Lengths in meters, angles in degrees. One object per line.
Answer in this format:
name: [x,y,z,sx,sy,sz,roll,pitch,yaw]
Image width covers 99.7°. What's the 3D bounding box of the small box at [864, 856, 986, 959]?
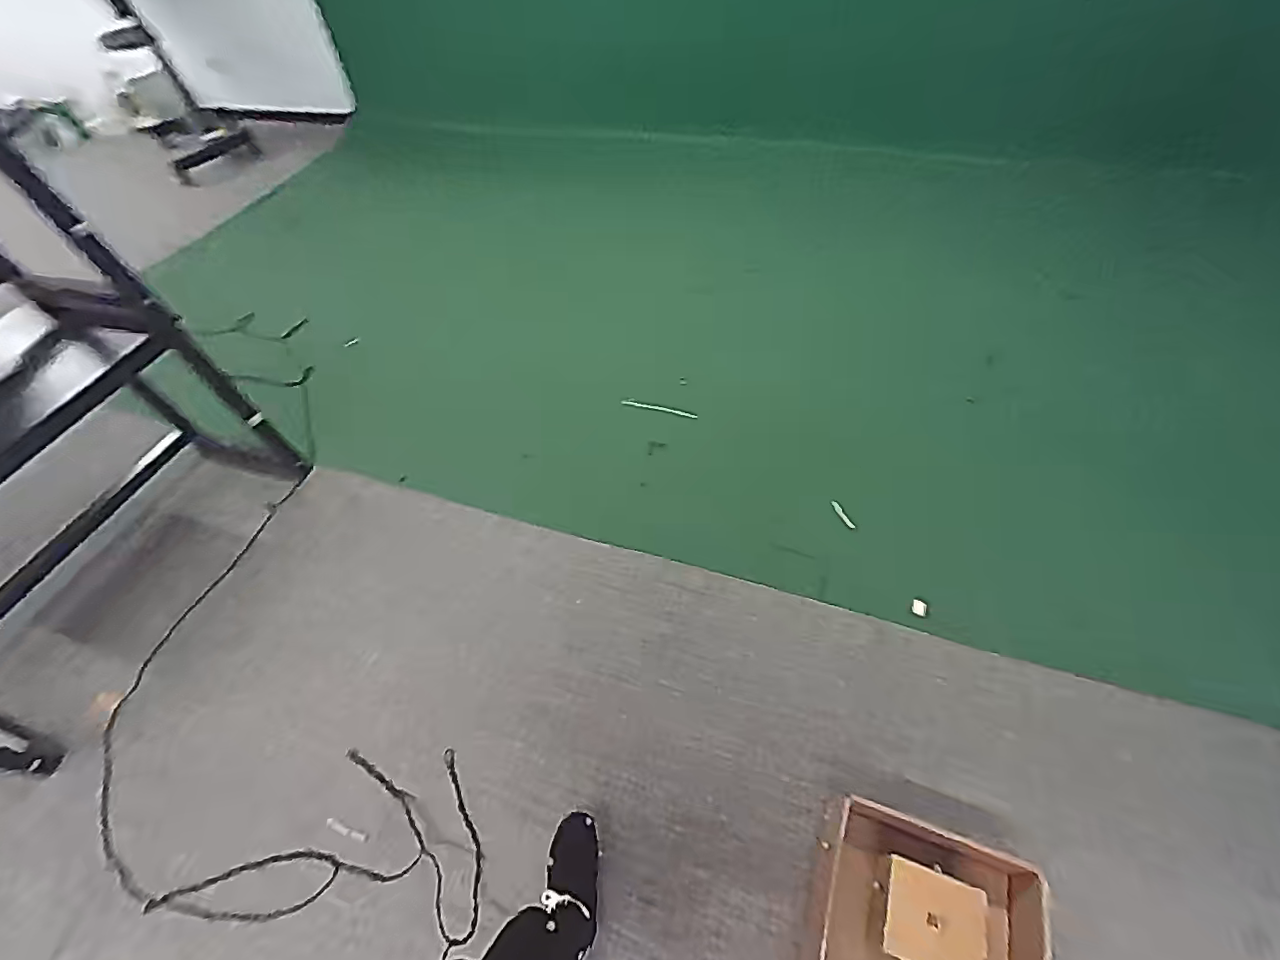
small box: [0.571,0.898,1.097,0.179,0.176,0.168,15,57,16]
